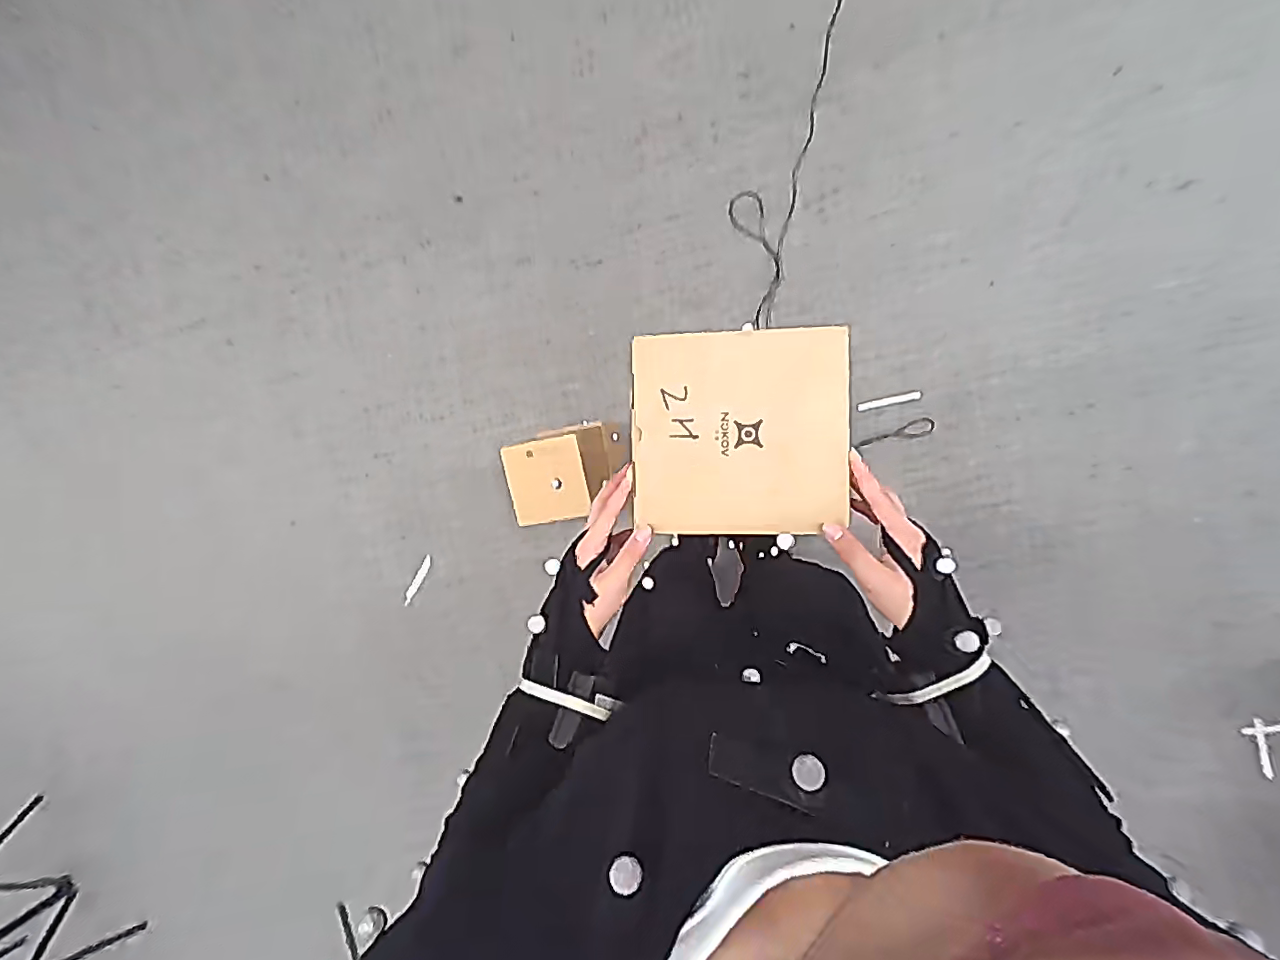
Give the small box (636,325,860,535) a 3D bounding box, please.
[{"bbox_3d":[0.094,-0.041,0.506,0.179,0.176,0.168,-1,91,9],"label":"small box"}]
